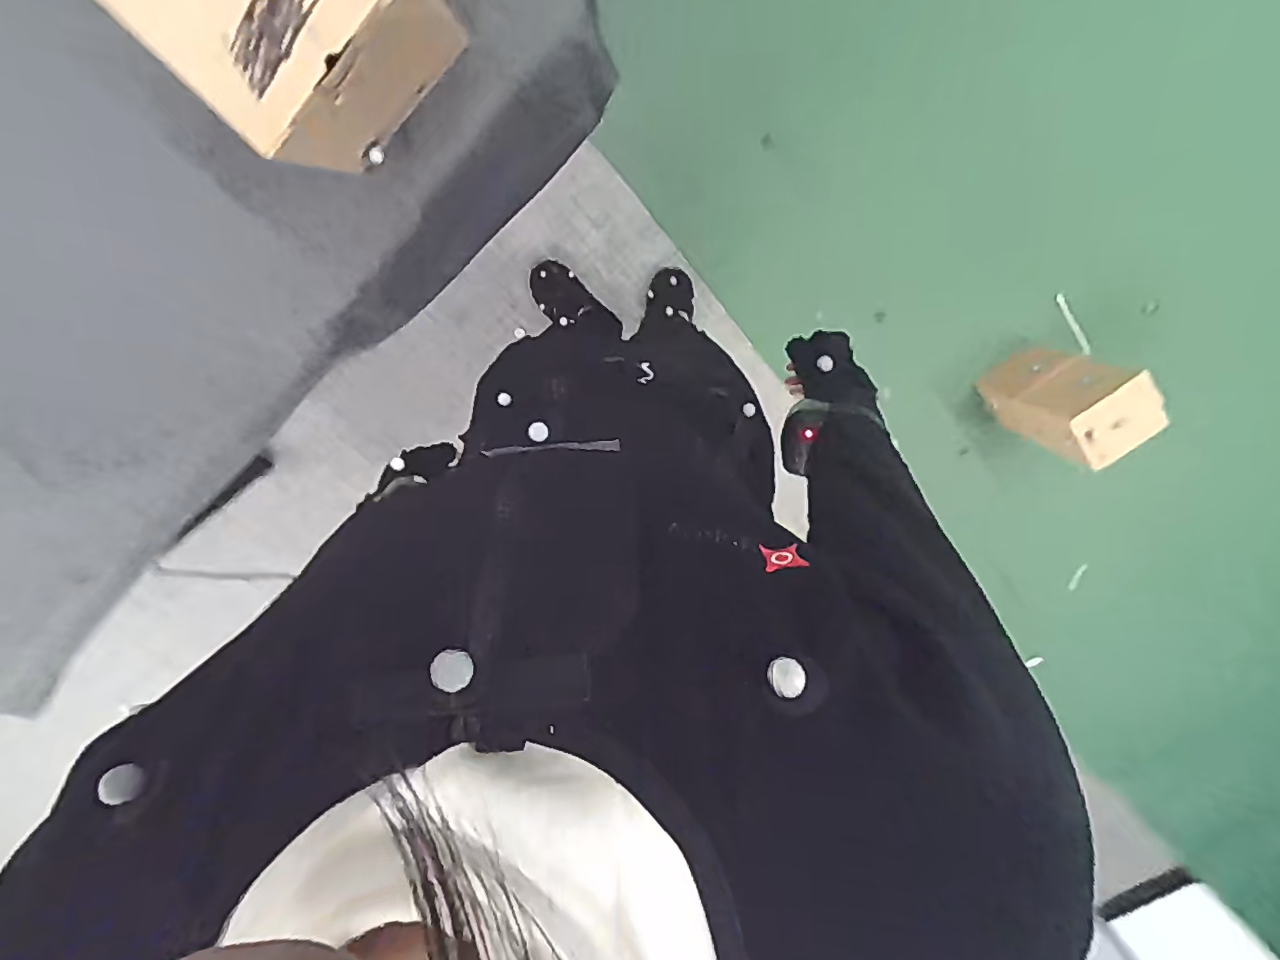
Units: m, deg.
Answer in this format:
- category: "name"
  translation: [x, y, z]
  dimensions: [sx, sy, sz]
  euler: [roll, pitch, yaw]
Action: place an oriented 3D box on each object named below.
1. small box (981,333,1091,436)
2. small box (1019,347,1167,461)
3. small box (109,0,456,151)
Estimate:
- category: "small box"
  translation: [1.023, -0.249, 1.378]
  dimensions: [0.179, 0.176, 0.168]
  euler: [-38, 111, 14]
- category: "small box"
  translation: [1.038, -0.183, 1.249]
  dimensions: [0.179, 0.176, 0.168]
  euler: [-40, 112, 13]
- category: "small box"
  translation: [-0.268, -0.378, 0.404]
  dimensions: [0.168, 0.176, 0.179]
  euler: [-40, 112, 15]
